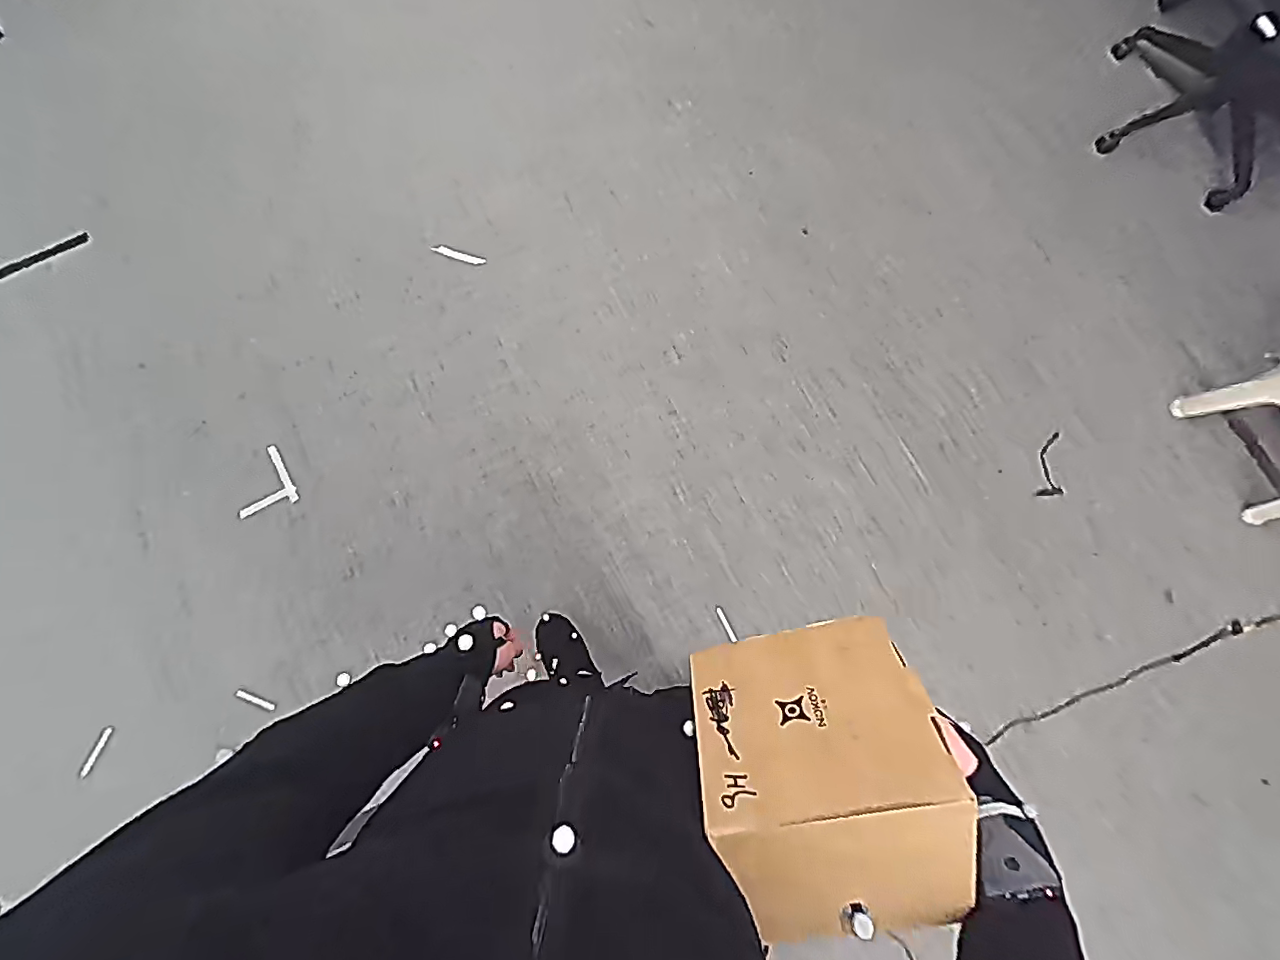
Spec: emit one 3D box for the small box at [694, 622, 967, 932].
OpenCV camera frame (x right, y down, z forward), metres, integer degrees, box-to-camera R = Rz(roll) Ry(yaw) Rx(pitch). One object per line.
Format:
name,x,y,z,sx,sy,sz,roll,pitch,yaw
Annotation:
small box,0.155,0.256,0.475,0.179,0.168,0.176,-14,118,8
